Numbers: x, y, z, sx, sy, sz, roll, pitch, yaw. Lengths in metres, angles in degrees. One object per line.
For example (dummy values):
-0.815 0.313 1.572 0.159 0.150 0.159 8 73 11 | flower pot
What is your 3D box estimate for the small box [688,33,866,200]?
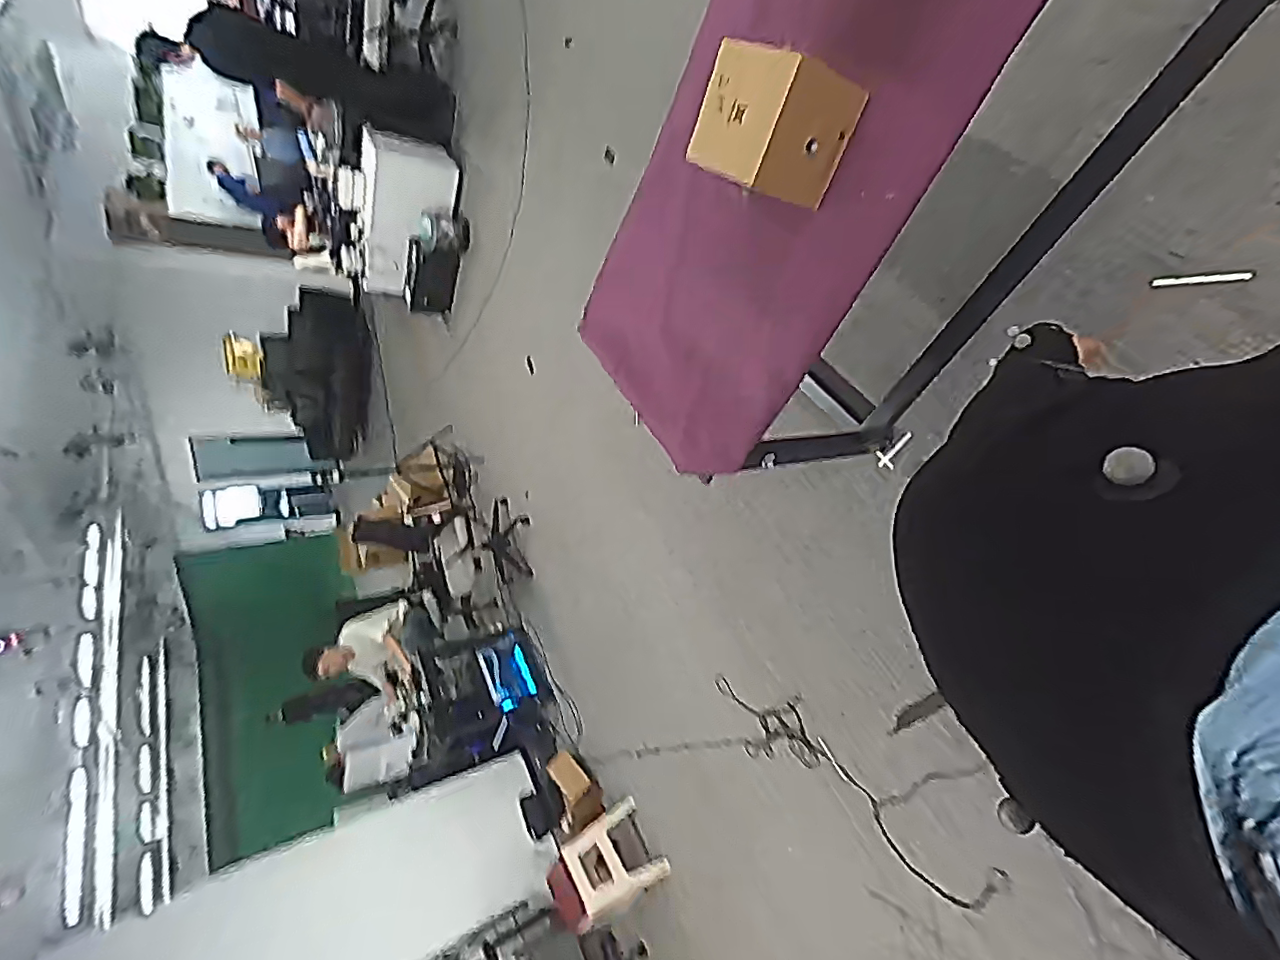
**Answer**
0.213 -0.561 0.850 0.179 0.176 0.168 51 133 37 | small box
